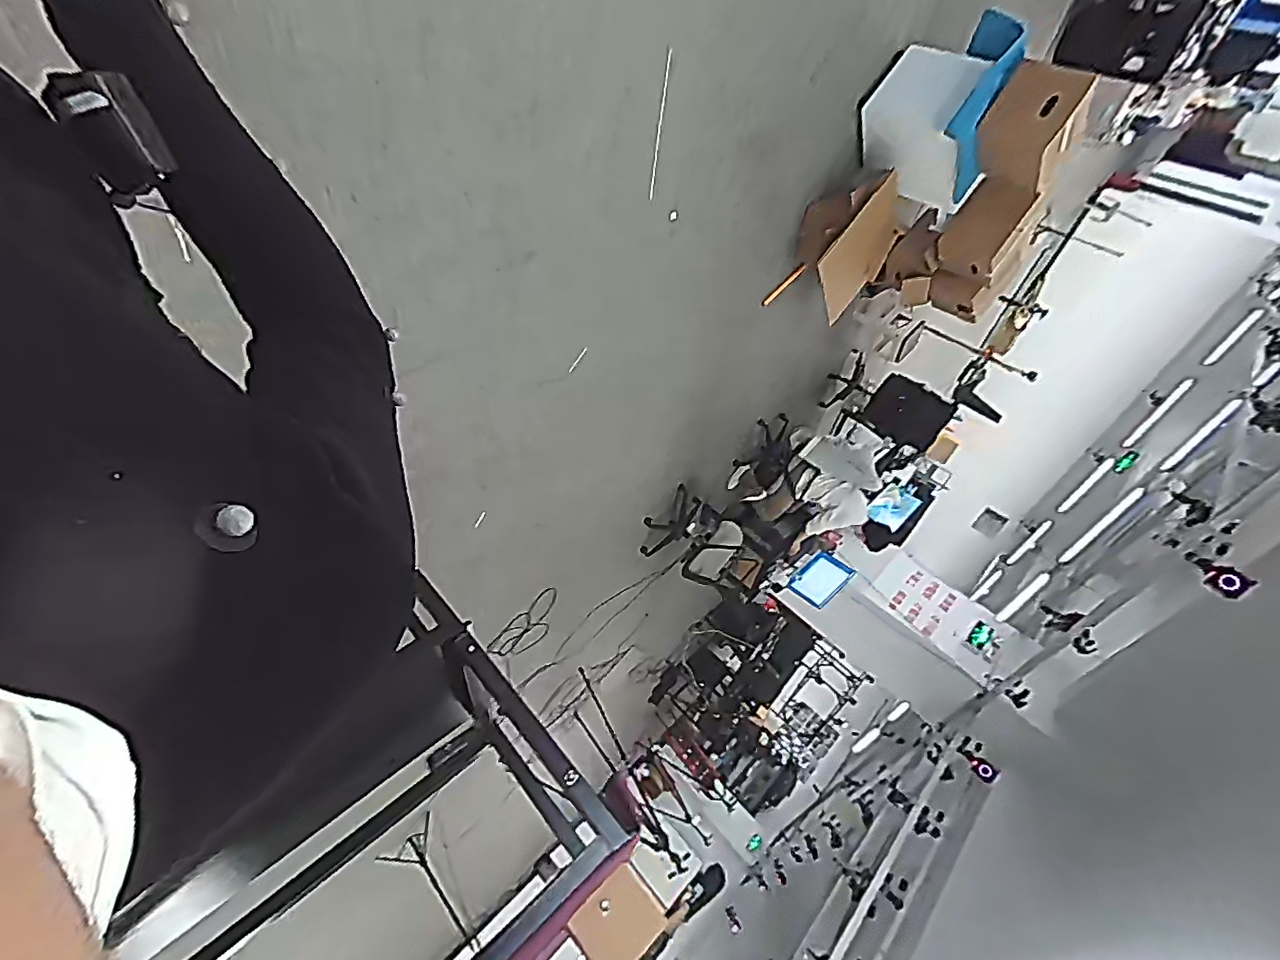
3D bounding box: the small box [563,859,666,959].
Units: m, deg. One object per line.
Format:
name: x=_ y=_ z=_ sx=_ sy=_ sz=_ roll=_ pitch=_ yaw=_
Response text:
small box: x=-0.067 y=1.052 z=1.281 sx=0.179 sy=0.176 sz=0.168 roll=-31 pitch=148 yaw=-32
